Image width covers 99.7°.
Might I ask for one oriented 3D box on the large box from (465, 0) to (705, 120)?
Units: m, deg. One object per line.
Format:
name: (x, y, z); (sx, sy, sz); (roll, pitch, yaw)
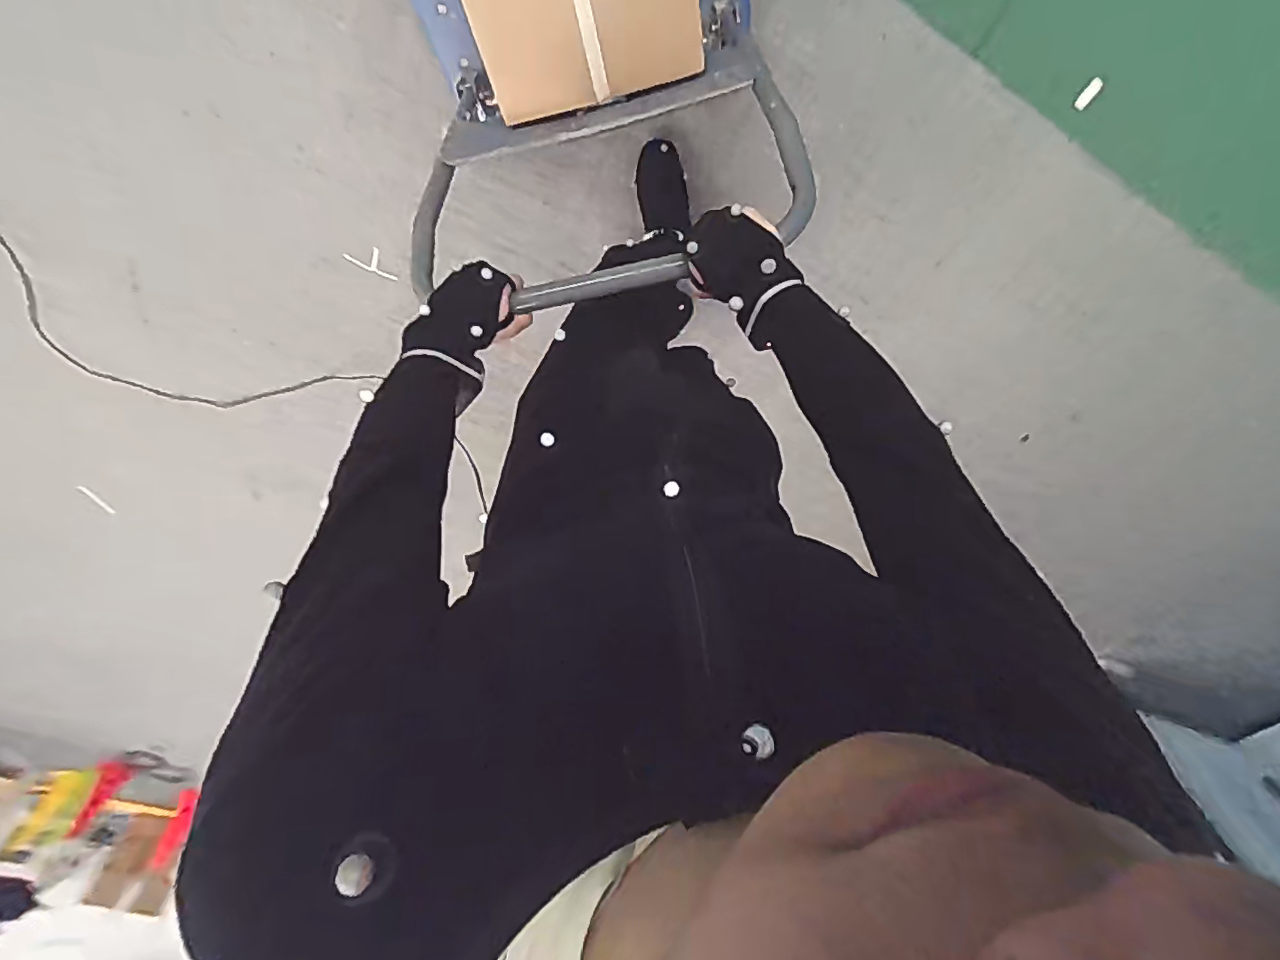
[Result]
large box: (-0.102, -0.815, 0.765); (0.320, 0.320, 0.408); (-10, 138, 8)
